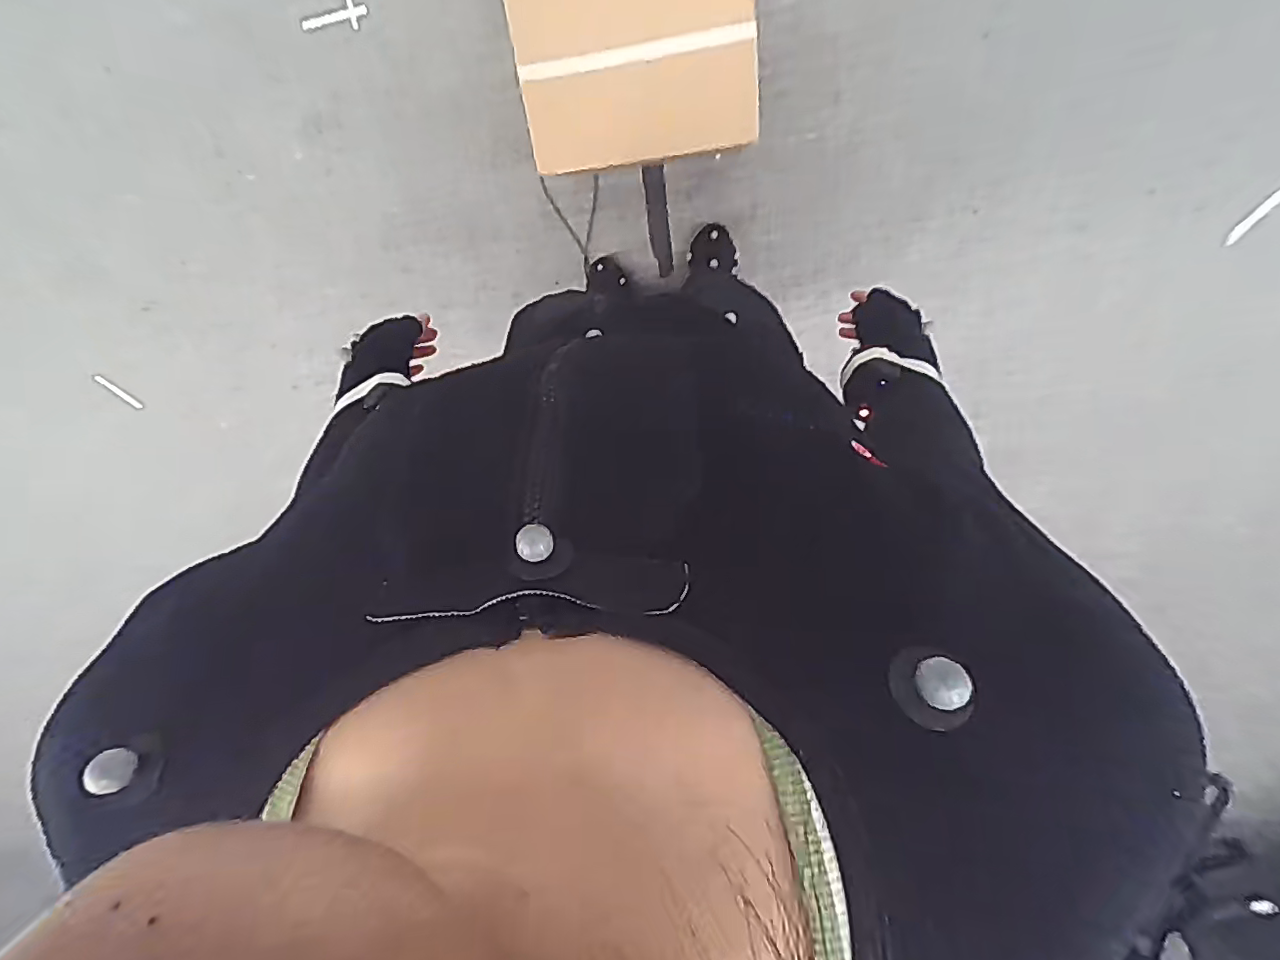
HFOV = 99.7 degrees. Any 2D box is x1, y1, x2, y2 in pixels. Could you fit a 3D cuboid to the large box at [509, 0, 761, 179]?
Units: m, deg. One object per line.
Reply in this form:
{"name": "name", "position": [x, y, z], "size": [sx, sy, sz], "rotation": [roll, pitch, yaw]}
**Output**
{"name": "large box", "position": [0.008, -0.788, 1.042], "size": [0.408, 0.320, 0.320], "rotation": [-5, 118, 7]}
